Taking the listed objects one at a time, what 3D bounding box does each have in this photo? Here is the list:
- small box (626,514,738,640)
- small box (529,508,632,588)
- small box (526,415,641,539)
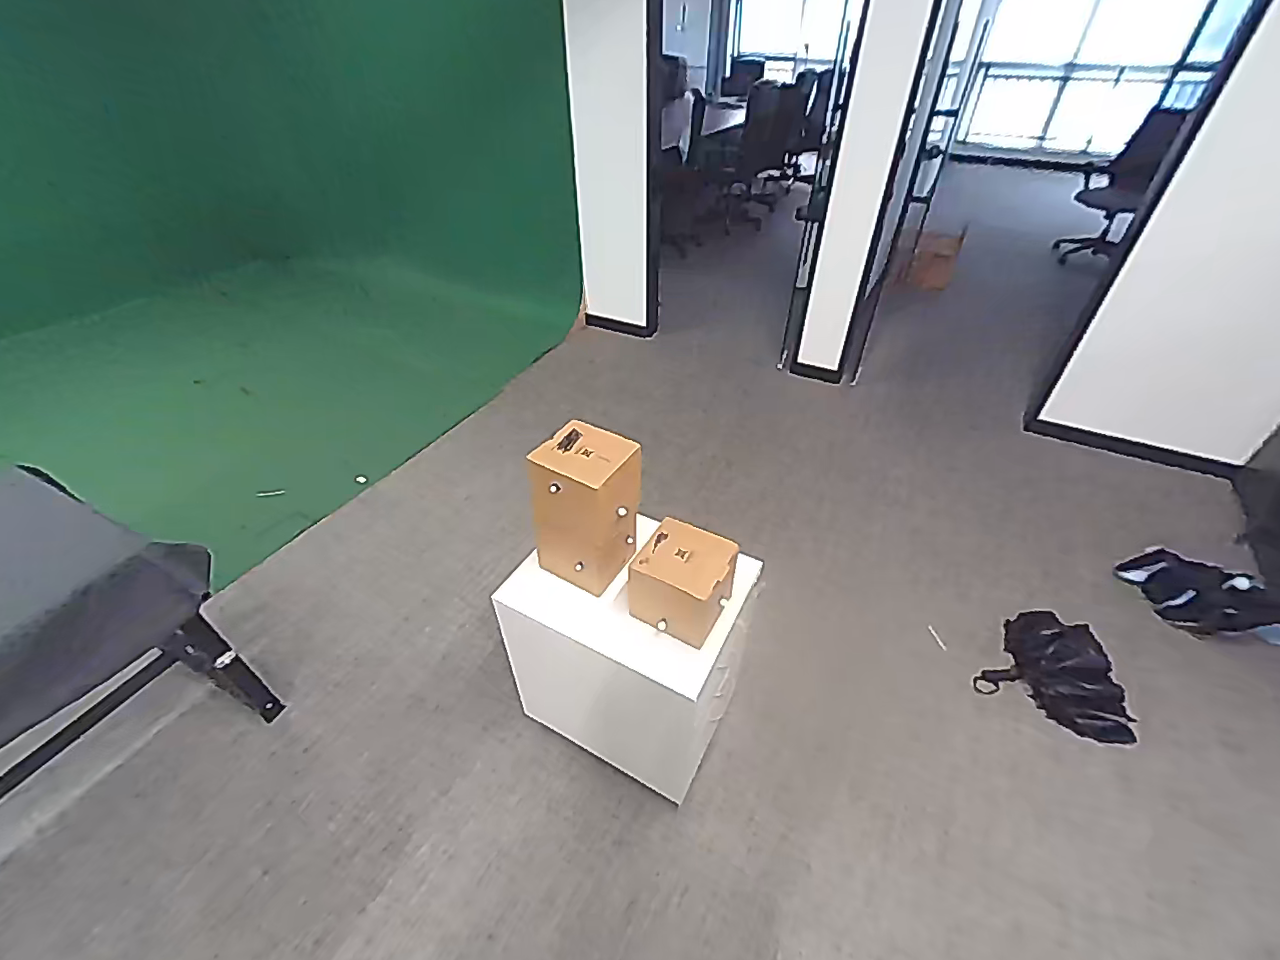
[{"bbox_3d":[0.085,0.209,1.143,0.179,0.176,0.168,22,45,21],"label":"small box"},{"bbox_3d":[-0.128,0.120,1.239,0.179,0.176,0.168,21,44,21],"label":"small box"},{"bbox_3d":[-0.116,-0.005,1.132,0.179,0.176,0.168,24,45,20],"label":"small box"}]
